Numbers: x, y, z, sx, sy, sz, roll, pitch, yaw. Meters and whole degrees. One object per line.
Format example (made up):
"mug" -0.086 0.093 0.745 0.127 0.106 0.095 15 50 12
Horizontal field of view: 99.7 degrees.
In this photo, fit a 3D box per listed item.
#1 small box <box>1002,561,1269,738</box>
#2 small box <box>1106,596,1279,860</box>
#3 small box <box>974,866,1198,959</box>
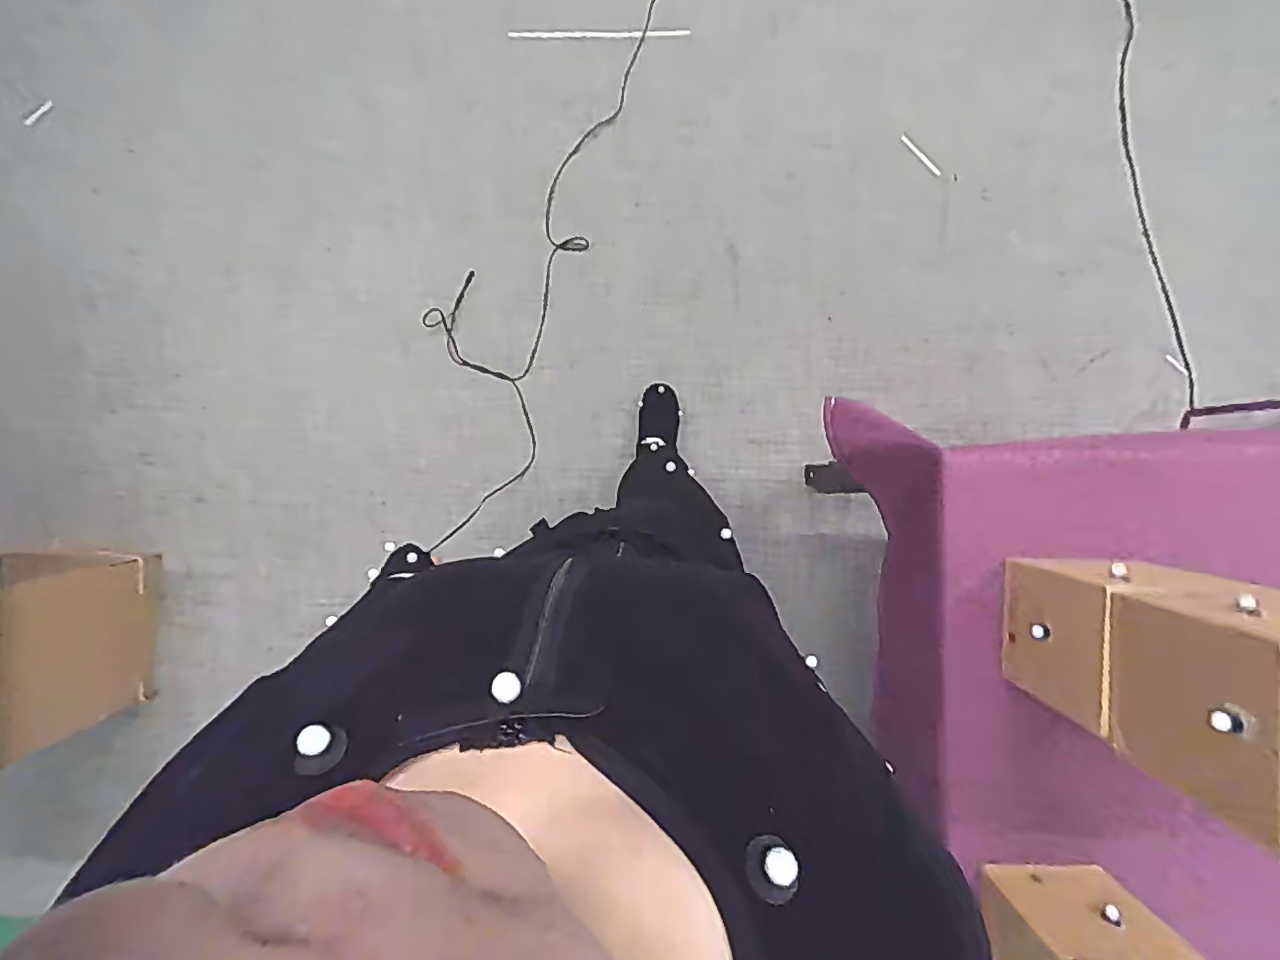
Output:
"small box" 0.579 0.197 0.657 0.179 0.176 0.168 2 93 1
"small box" 0.575 0.209 0.494 0.168 0.176 0.179 0 93 3
"small box" 0.549 0.623 0.677 0.168 0.176 0.179 0 93 1
